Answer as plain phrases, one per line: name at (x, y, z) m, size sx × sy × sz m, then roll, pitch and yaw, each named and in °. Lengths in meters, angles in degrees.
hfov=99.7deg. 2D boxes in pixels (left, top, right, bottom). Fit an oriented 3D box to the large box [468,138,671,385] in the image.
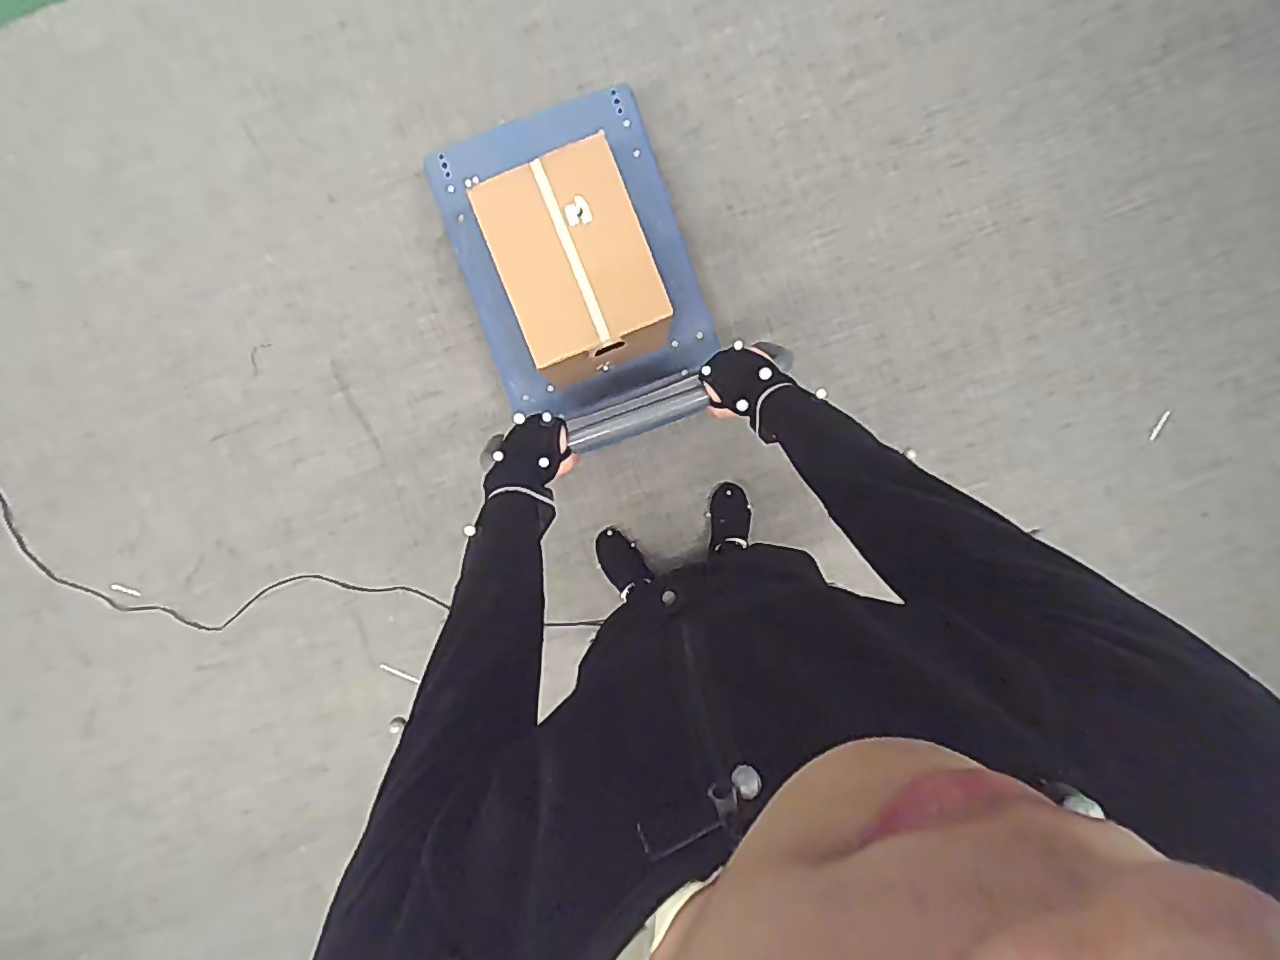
large box at (-0.144, -0.484, 1.288) m, size 0.320 × 0.320 × 0.408 m, roll -22°, pitch 92°, yaw 1°
